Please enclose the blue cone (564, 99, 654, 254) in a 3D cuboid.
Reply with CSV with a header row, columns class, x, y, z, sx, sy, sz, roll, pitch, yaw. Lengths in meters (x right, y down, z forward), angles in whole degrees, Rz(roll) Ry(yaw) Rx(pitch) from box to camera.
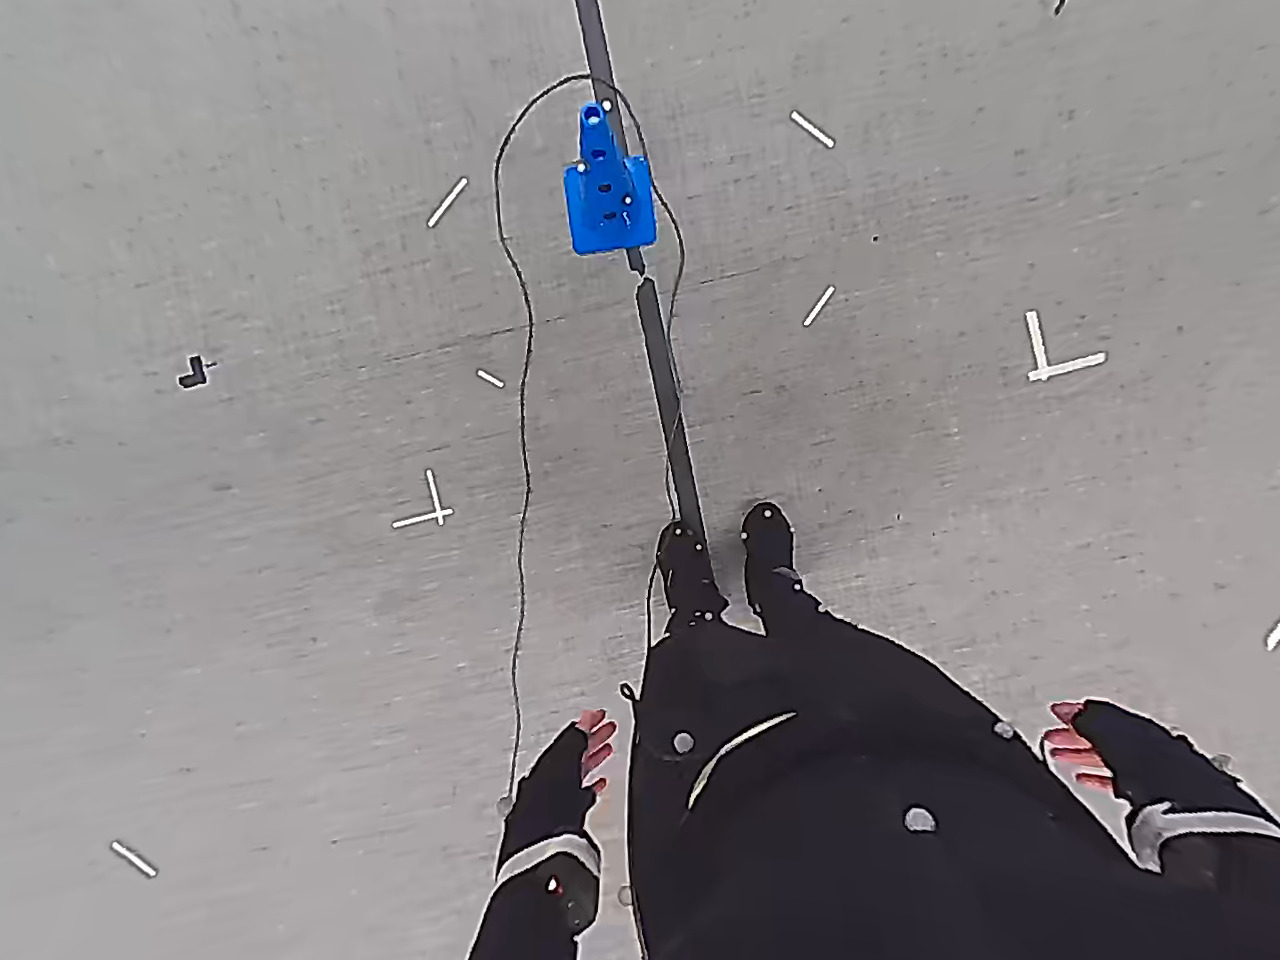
class,x,y,z,sx,sy,sz,roll,pitch,yaw
blue cone,-0.077,-0.609,1.068,0.193,0.380,0.192,-9,94,3
